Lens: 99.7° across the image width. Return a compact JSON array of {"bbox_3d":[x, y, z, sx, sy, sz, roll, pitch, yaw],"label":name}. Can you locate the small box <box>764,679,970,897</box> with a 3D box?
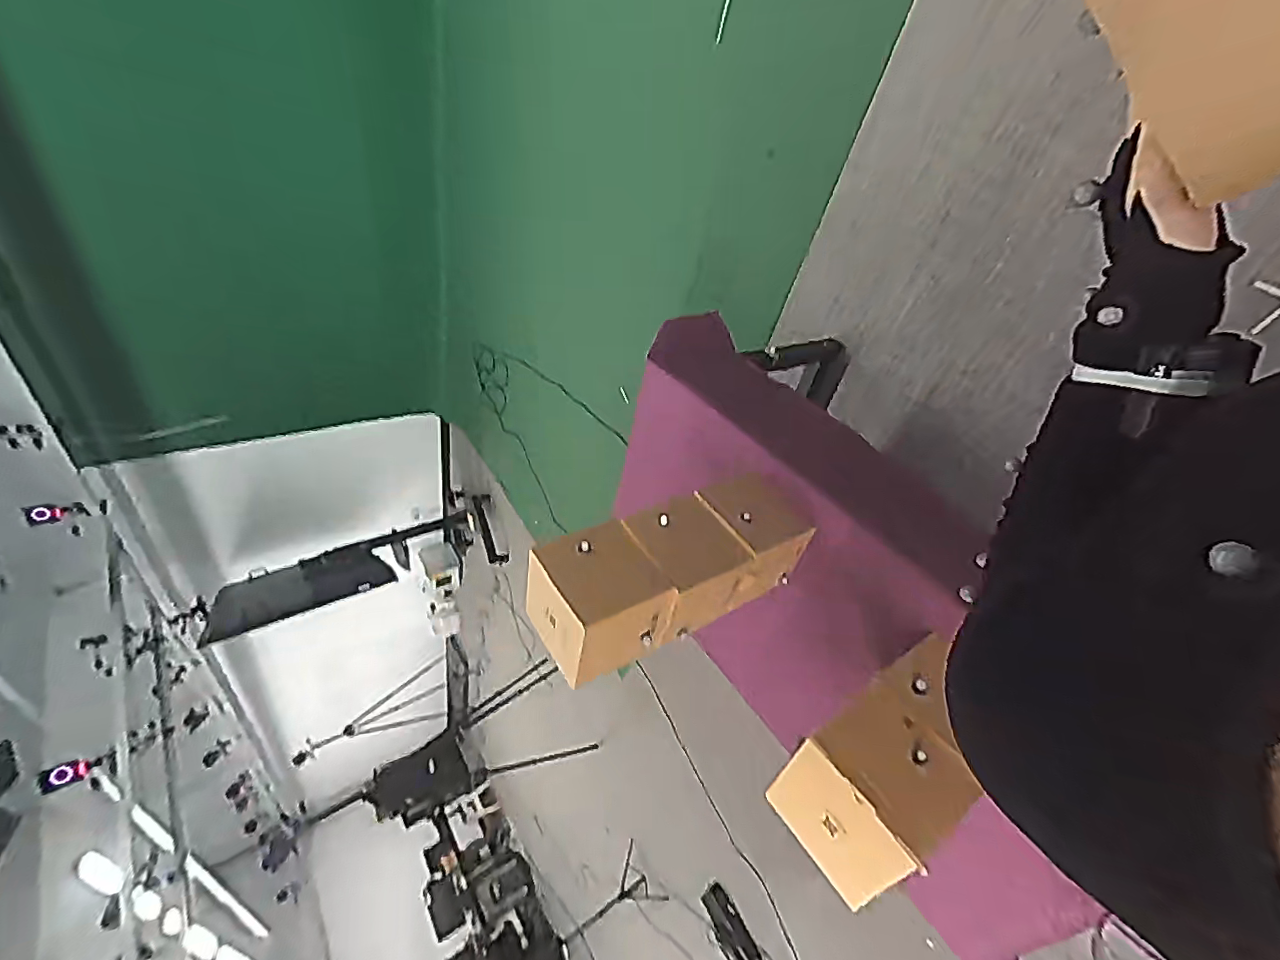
[{"bbox_3d":[0.307,0.414,0.743,0.168,0.176,0.179,46,137,36],"label":"small box"}]

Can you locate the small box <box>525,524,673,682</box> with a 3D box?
[{"bbox_3d":[-0.074,0.192,0.901,0.179,0.176,0.168,46,138,35],"label":"small box"}]

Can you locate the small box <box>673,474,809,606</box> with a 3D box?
[{"bbox_3d":[0.198,0.109,1.065,0.179,0.176,0.168,48,139,34],"label":"small box"}]

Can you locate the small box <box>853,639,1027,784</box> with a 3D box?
[{"bbox_3d":[0.437,0.369,0.832,0.179,0.176,0.168,45,138,35],"label":"small box"}]
